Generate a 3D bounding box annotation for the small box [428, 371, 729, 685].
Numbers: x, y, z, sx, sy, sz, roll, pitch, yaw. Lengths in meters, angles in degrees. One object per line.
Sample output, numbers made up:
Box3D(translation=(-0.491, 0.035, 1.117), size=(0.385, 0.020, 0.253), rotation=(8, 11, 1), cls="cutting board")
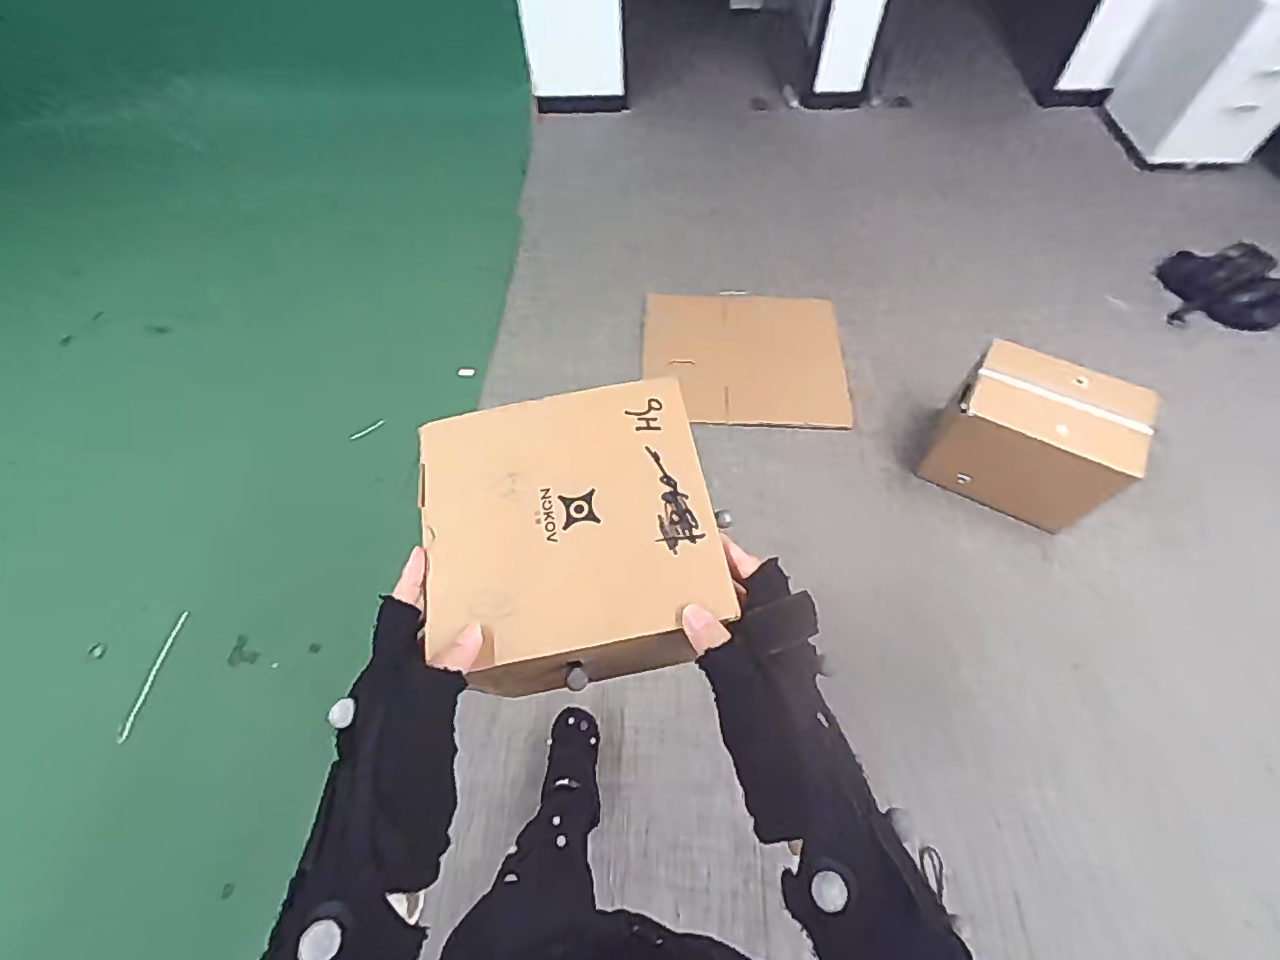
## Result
Box3D(translation=(-0.042, 0.048, 0.414), size=(0.179, 0.176, 0.168), rotation=(-13, 63, -3), cls="small box")
